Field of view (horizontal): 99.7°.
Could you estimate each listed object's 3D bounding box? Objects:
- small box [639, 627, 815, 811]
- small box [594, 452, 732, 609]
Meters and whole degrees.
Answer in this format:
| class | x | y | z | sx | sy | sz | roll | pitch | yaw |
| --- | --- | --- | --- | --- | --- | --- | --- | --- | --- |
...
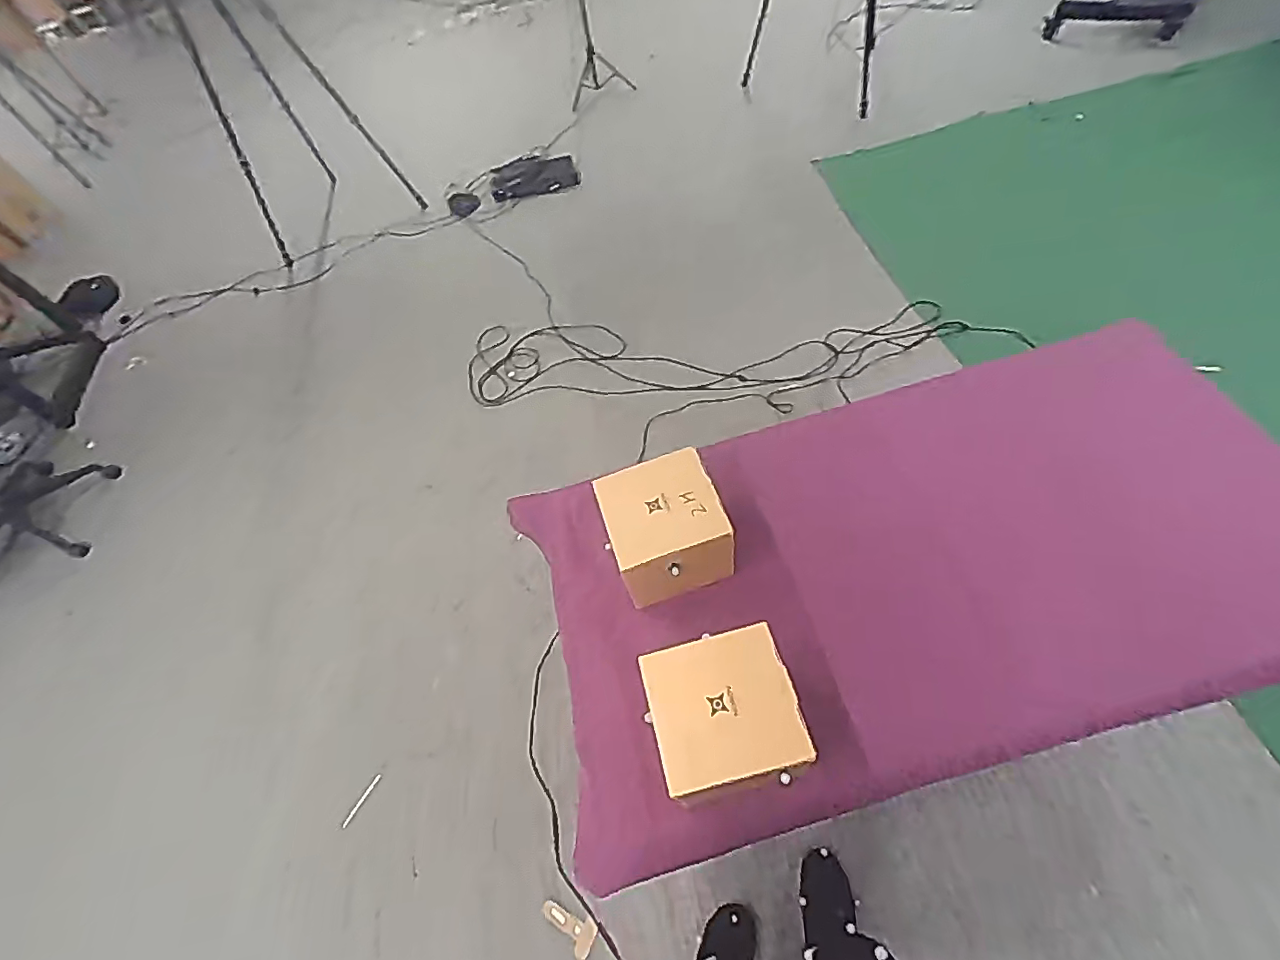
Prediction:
| class | x | y | z | sx | sy | sz | roll | pitch | yaw |
| --- | --- | --- | --- | --- | --- | --- | --- | --- | --- |
| small box | 0.109 | 0.320 | 0.712 | 0.179 | 0.176 | 0.168 | -15 | 54 | -1 |
| small box | 0.042 | 0.089 | 0.874 | 0.179 | 0.176 | 0.168 | -18 | 57 | -3 |
